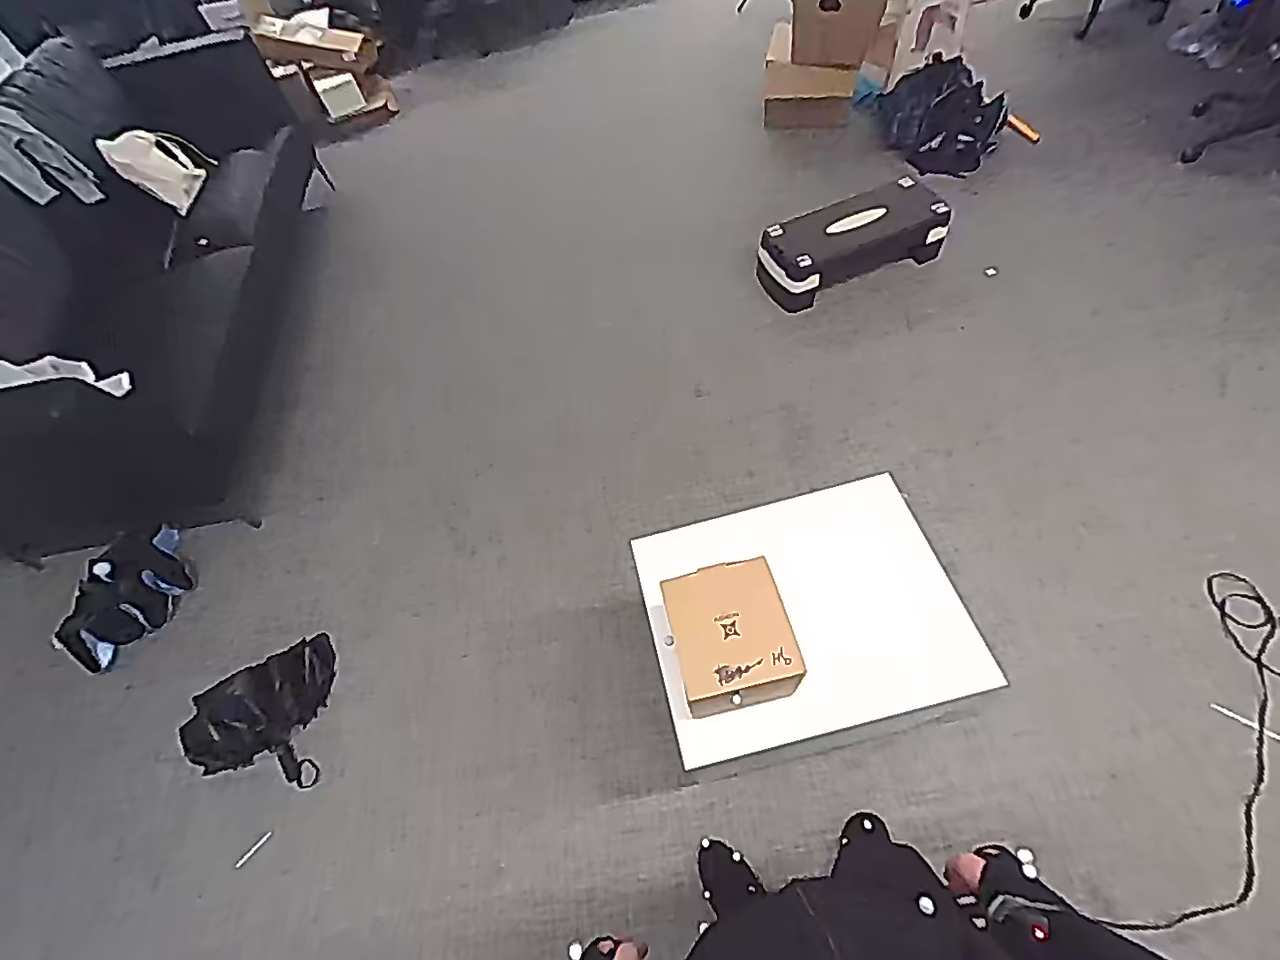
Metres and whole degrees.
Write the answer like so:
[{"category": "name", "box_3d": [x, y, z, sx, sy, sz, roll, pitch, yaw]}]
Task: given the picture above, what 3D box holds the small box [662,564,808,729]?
[{"category": "small box", "box_3d": [0.135, 0.257, 0.824, 0.168, 0.176, 0.179, -15, 56, -1]}]
